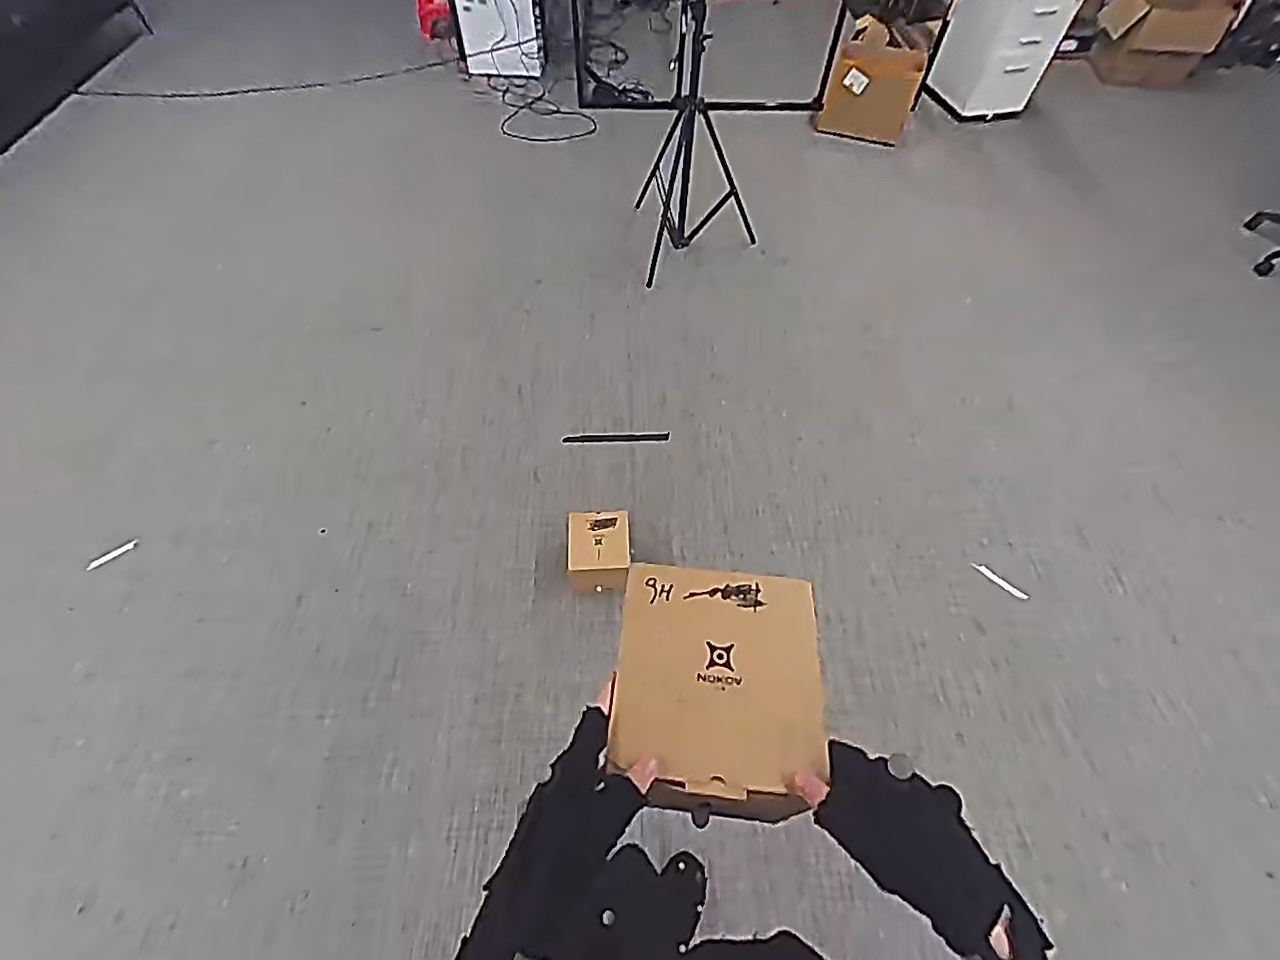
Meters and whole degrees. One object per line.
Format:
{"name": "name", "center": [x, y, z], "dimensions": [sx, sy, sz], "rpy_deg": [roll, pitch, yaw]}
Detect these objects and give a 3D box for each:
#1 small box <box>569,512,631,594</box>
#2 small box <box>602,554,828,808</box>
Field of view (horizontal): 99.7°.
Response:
{"name": "small box", "center": [-0.111, 0.208, 1.527], "dimensions": [0.168, 0.176, 0.179], "rpy_deg": [-2, 58, -3]}
{"name": "small box", "center": [0.062, 0.190, 0.498], "dimensions": [0.168, 0.176, 0.179], "rpy_deg": [5, 54, 2]}
